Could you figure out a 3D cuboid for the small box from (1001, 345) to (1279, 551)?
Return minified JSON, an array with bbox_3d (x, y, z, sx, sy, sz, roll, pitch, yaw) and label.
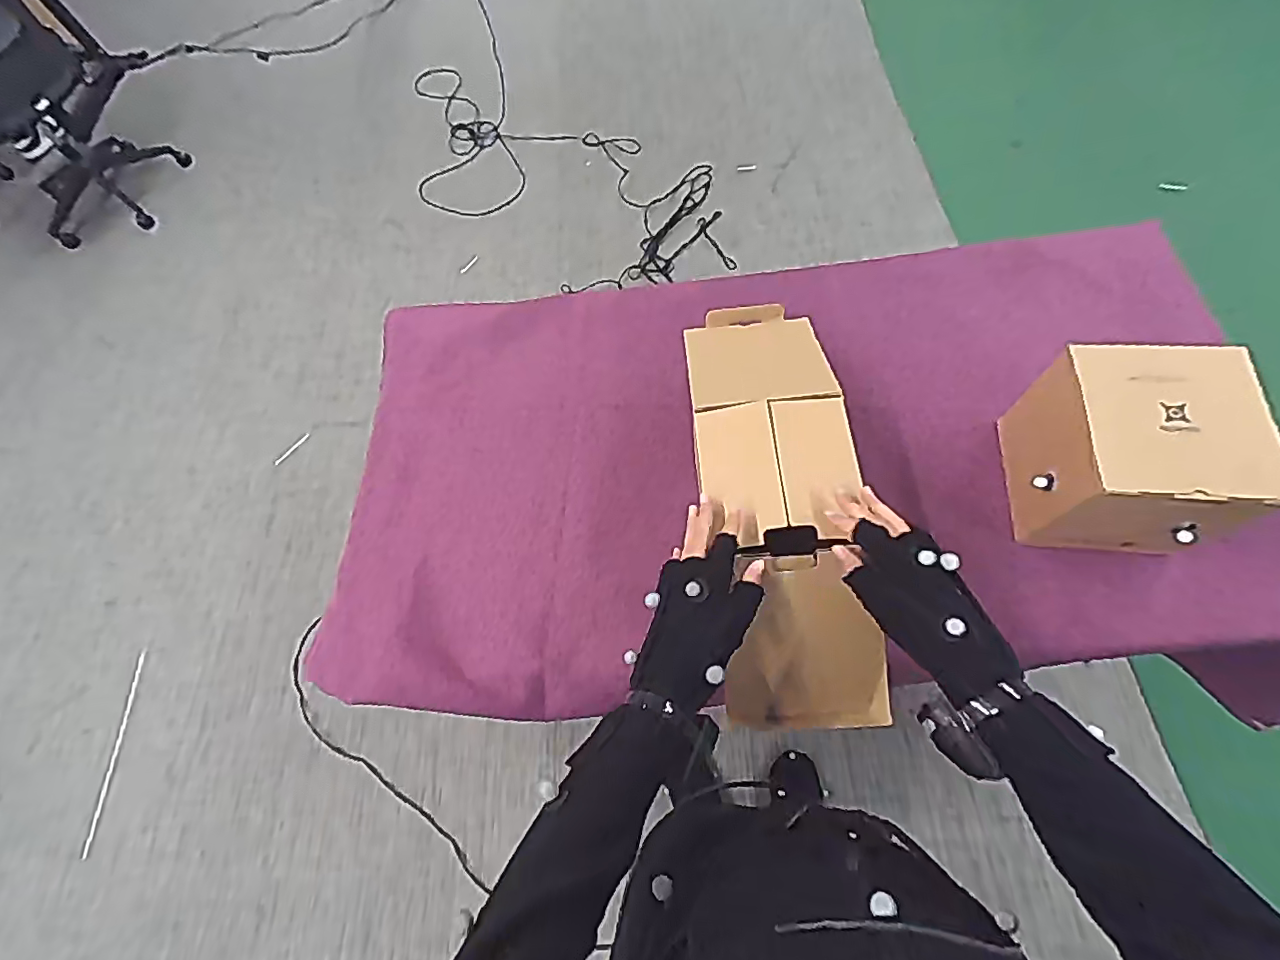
[{"bbox_3d":[0.537,-0.028,0.603,0.168,0.176,0.179,4,66,10],"label":"small box"}]
